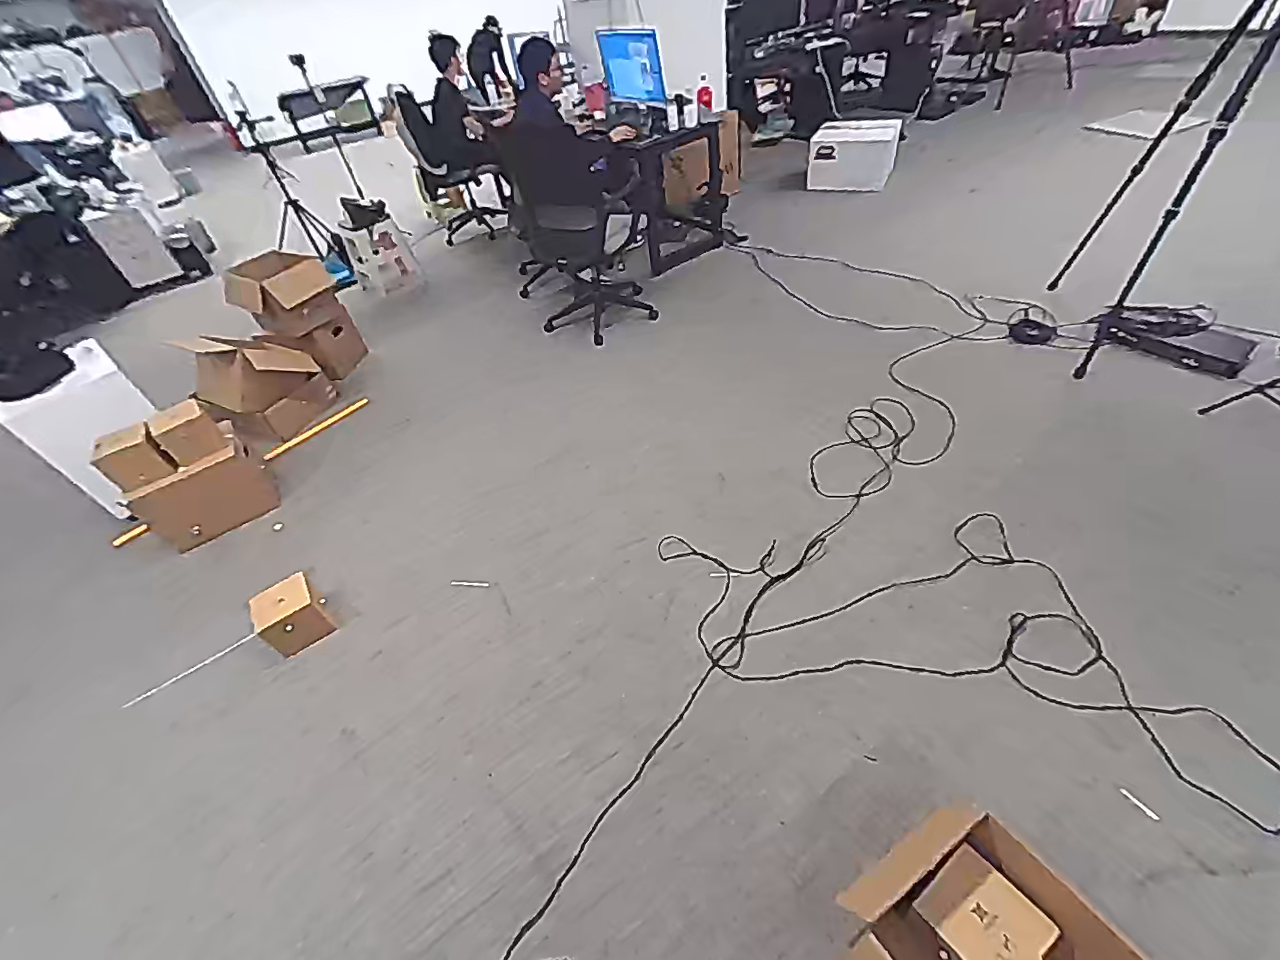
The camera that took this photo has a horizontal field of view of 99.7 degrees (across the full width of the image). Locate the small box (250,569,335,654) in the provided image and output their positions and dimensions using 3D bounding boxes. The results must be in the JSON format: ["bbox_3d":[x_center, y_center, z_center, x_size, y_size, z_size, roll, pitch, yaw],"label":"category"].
[{"bbox_3d":[-1.148,0.438,1.799,0.179,0.176,0.168,-32,49,-19],"label":"small box"}]
